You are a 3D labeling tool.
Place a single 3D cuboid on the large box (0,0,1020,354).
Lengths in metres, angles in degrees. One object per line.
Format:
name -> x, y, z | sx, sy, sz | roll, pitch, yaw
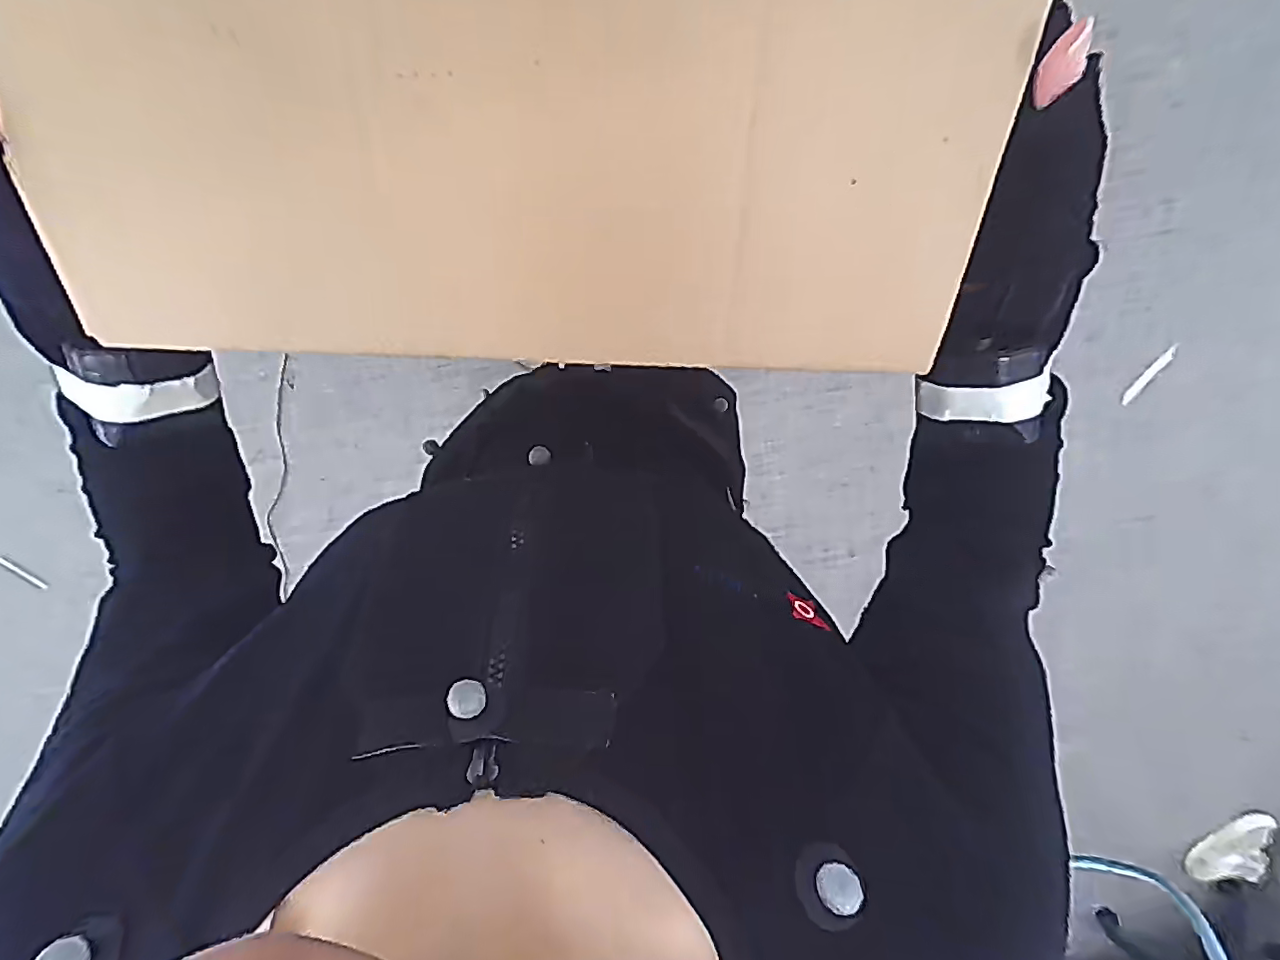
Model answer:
large box -> -0.055, -0.273, 0.323 | 0.408, 0.320, 0.320 | 2, 122, 0
